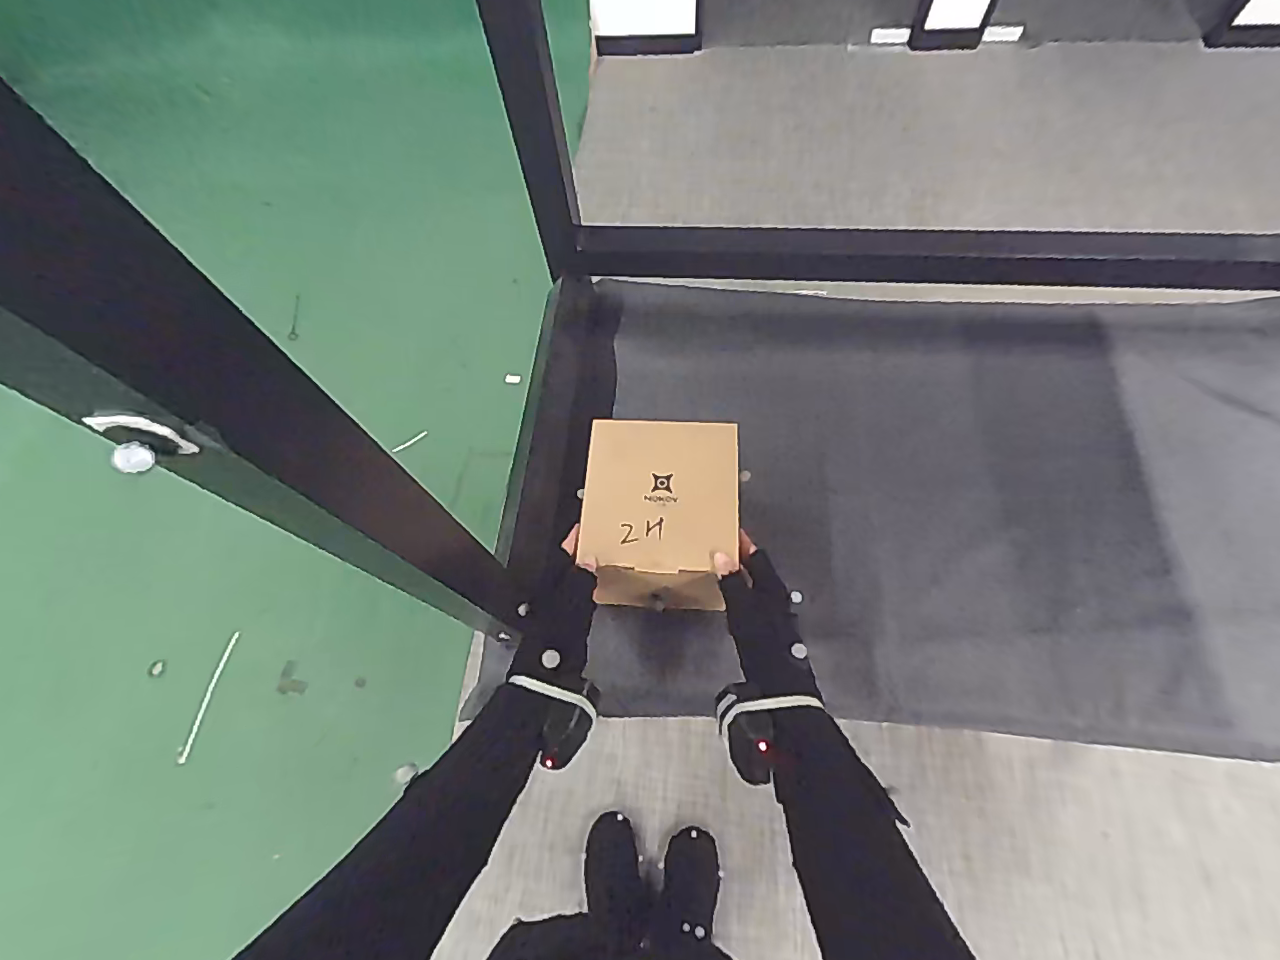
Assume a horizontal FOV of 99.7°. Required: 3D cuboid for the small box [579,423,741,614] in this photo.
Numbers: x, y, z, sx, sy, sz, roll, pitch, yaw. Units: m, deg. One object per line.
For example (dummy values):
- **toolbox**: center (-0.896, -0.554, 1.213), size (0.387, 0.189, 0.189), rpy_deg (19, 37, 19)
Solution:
- **small box**: center (0.029, 0.051, 0.649), size (0.168, 0.176, 0.179), rpy_deg (2, 64, 5)
